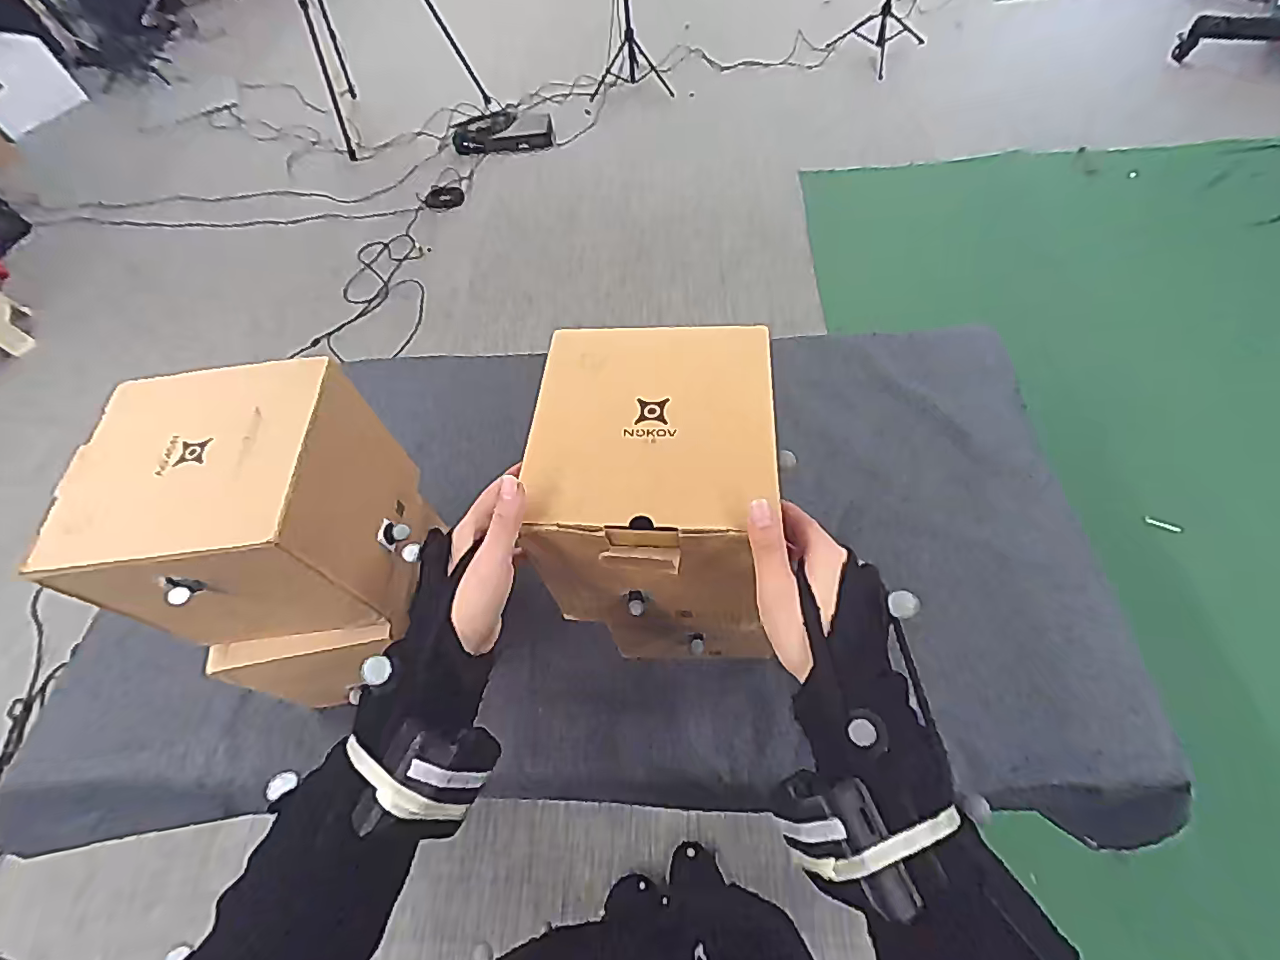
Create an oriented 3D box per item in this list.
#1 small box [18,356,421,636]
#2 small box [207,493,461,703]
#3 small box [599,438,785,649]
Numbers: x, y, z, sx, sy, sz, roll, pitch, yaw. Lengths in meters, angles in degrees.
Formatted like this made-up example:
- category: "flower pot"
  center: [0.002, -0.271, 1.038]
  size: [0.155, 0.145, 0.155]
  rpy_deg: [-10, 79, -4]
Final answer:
- category: "small box"
  center: [-0.312, 0.023, 0.452]
  size: [0.179, 0.176, 0.168]
  rpy_deg: [-6, 58, 1]
- category: "small box"
  center: [-0.303, 0.122, 0.582]
  size: [0.168, 0.176, 0.179]
  rpy_deg: [-11, 58, -1]
- category: "small box"
  center: [0.054, 0.076, 0.578]
  size: [0.168, 0.176, 0.179]
  rpy_deg: [-2, 58, 5]
